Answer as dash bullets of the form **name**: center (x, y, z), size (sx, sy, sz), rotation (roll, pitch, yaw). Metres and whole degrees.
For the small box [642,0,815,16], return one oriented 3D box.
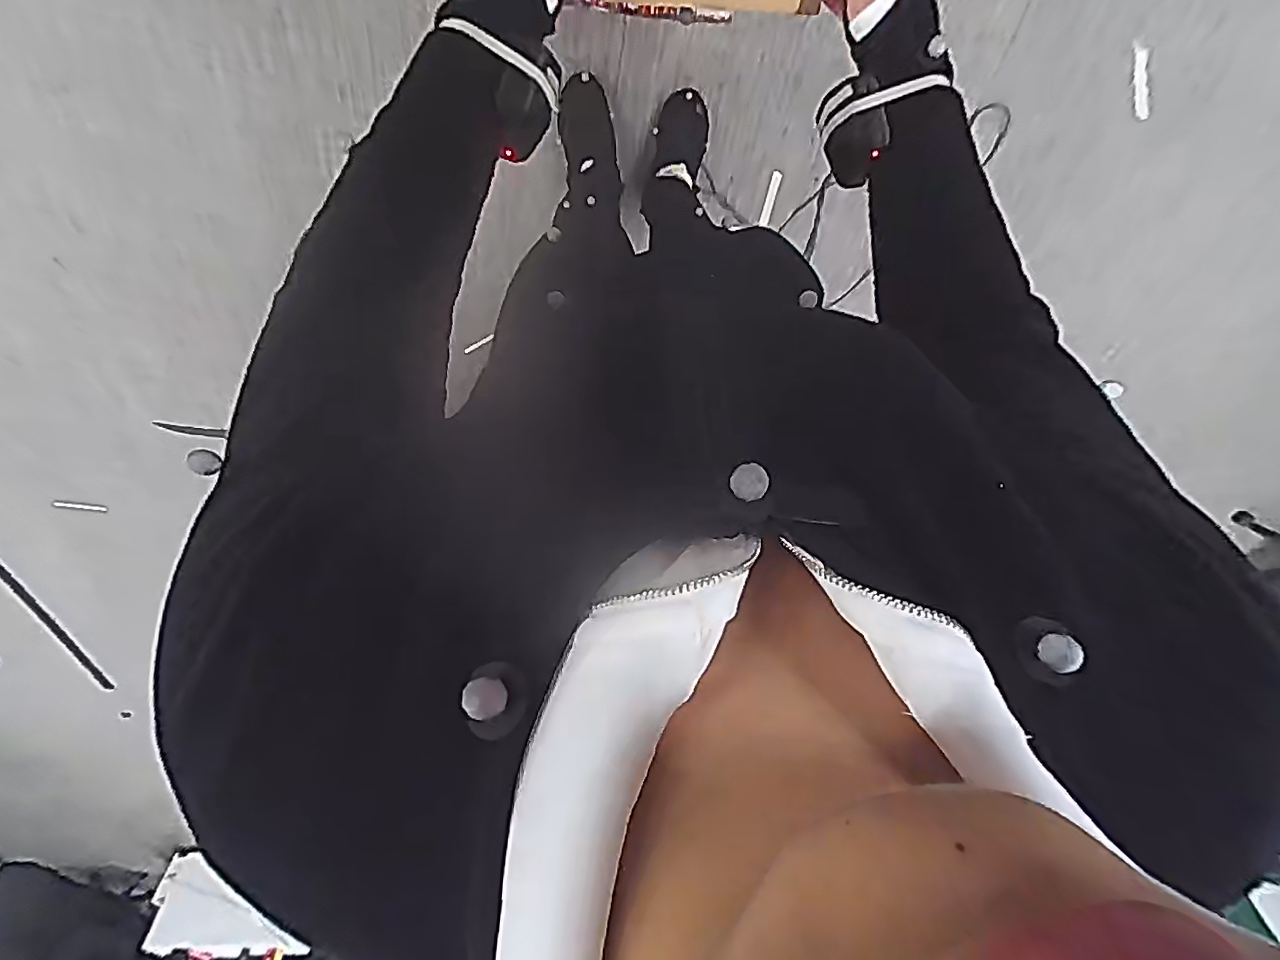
- **small box**: center (0.054, -0.486, 0.425), size (0.179, 0.176, 0.168), rotation (1, 136, -4)
